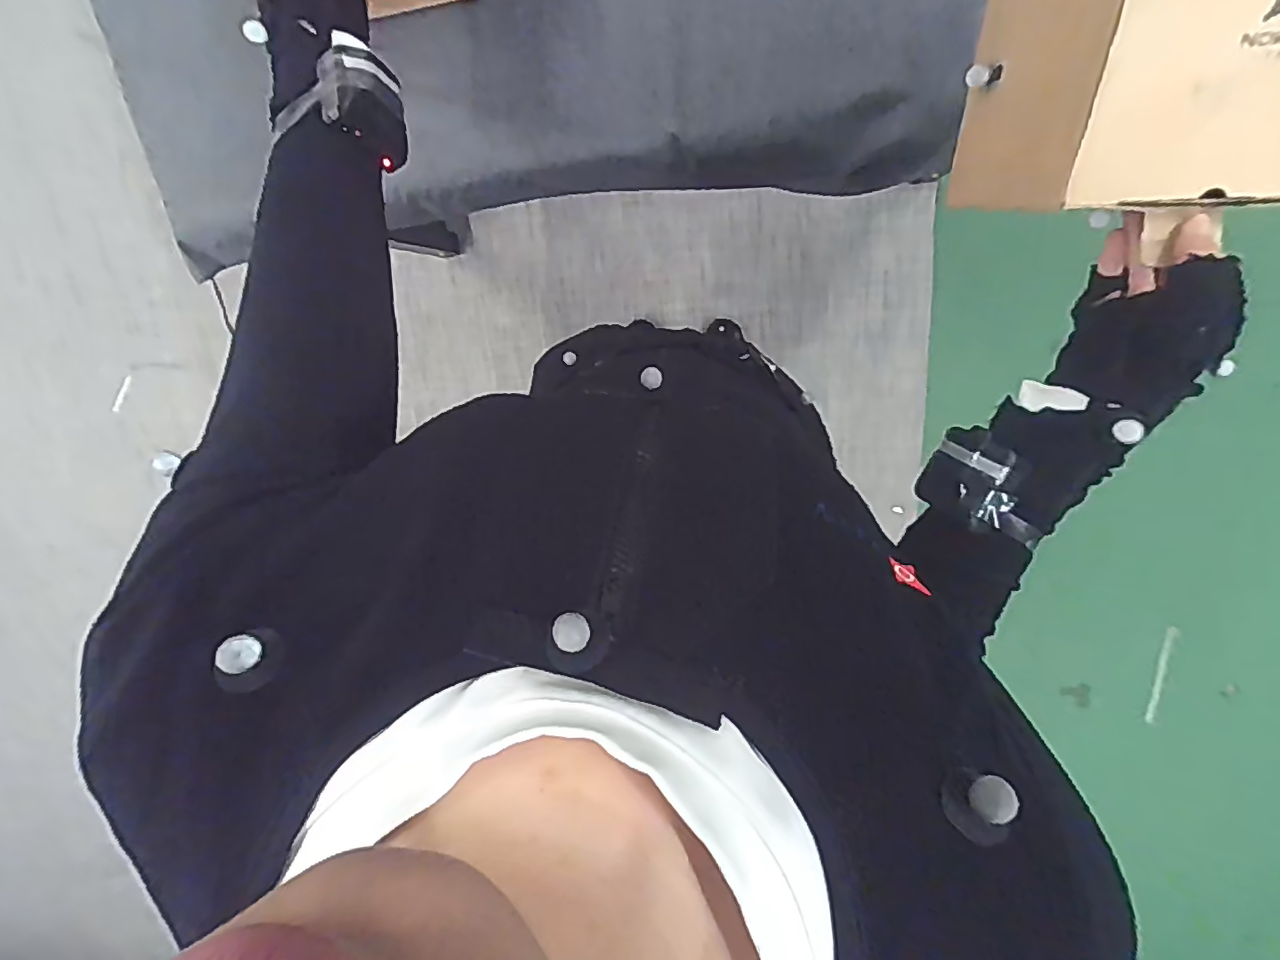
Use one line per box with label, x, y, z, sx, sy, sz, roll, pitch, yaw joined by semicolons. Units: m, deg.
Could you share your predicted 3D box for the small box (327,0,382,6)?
small box;-0.270;-0.564;0.474;0.168;0.176;0.179;-4;104;7
